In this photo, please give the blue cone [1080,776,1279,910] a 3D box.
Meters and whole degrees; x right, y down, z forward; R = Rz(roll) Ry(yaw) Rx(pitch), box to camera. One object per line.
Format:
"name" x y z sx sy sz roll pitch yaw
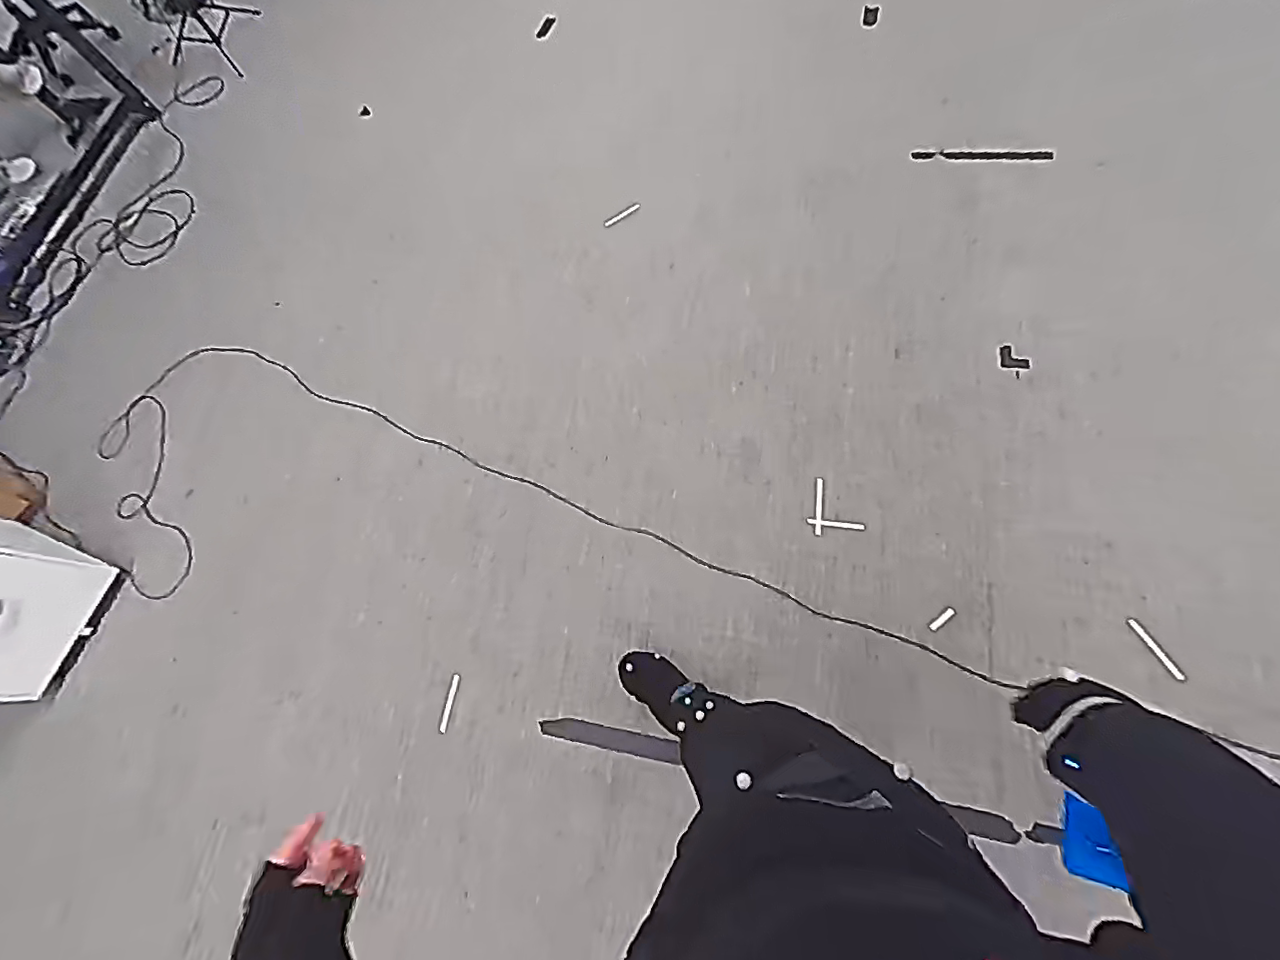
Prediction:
"blue cone" 0.930 0.632 0.892 0.192 0.380 0.193 9 71 14
